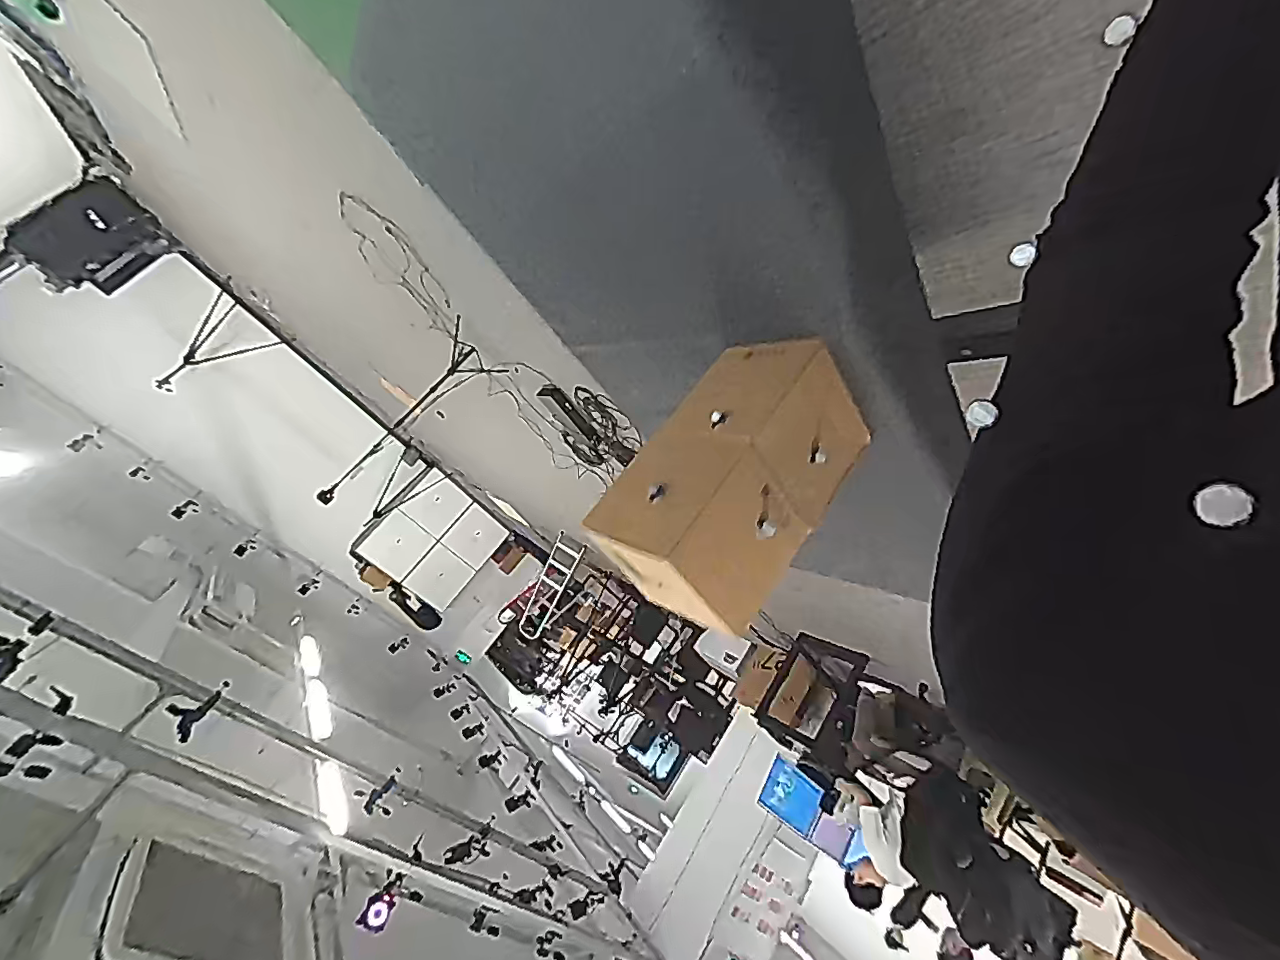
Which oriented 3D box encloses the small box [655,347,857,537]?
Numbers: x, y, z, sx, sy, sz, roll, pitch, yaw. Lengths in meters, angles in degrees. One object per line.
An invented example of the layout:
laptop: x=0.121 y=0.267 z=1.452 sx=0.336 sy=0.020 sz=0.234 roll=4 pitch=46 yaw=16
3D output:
small box: x=0.161 y=-0.055 z=0.727 sx=0.168 sy=0.176 sz=0.179 roll=12 pitch=148 yaw=53

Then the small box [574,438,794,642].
small box: x=0.058 y=0.064 z=0.678 sx=0.179 sy=0.176 sz=0.168 roll=13 pitch=148 yaw=52
